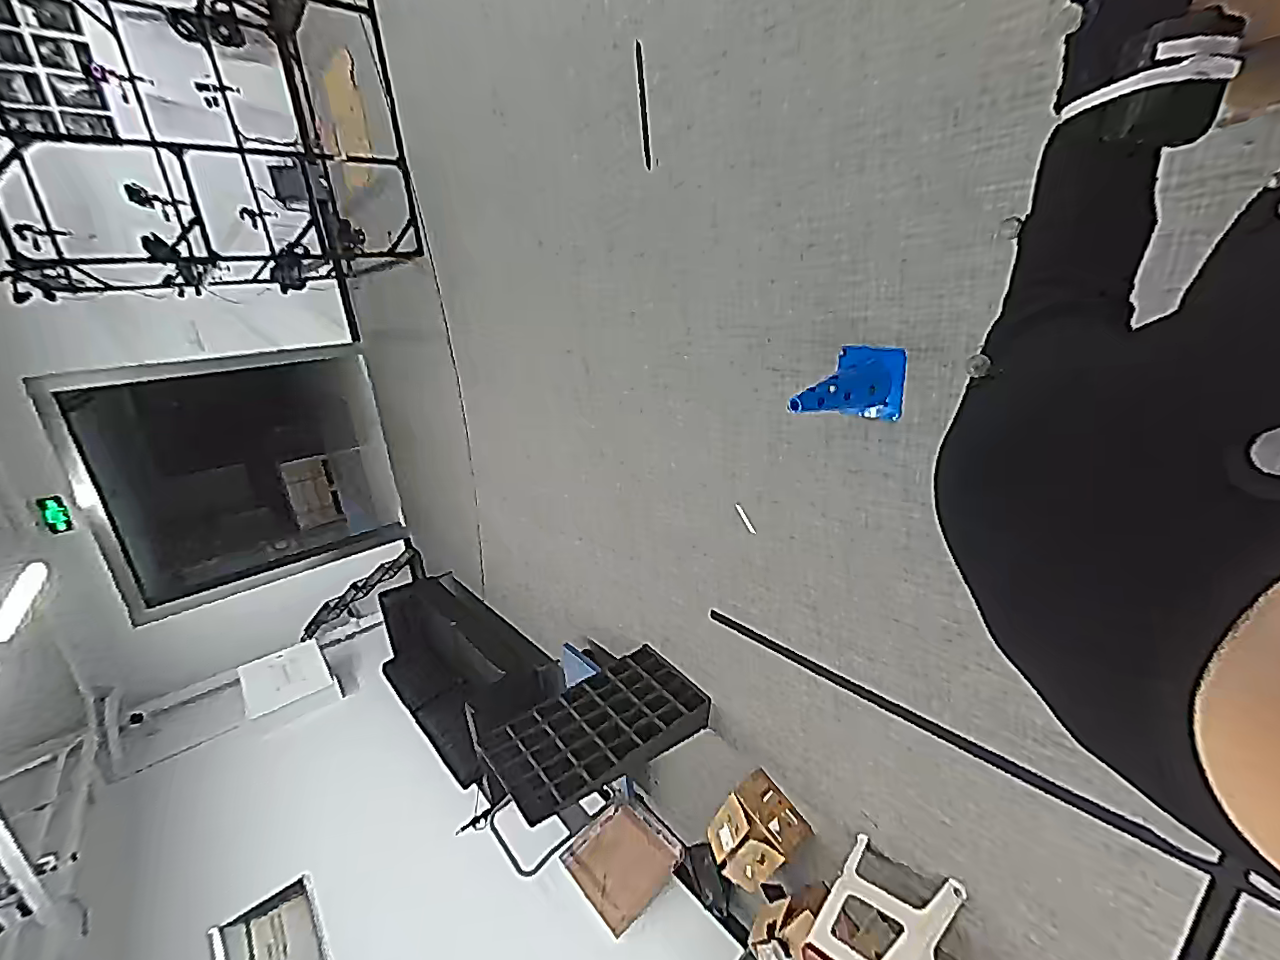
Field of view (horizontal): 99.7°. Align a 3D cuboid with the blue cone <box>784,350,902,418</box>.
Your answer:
[{"bbox_3d":[0.532,-0.236,1.472,0.192,0.380,0.193,22,123,48],"label":"blue cone"}]

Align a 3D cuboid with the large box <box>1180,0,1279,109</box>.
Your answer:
[{"bbox_3d":[0.578,-0.439,0.257,0.408,0.320,0.320,14,118,49],"label":"large box"}]
